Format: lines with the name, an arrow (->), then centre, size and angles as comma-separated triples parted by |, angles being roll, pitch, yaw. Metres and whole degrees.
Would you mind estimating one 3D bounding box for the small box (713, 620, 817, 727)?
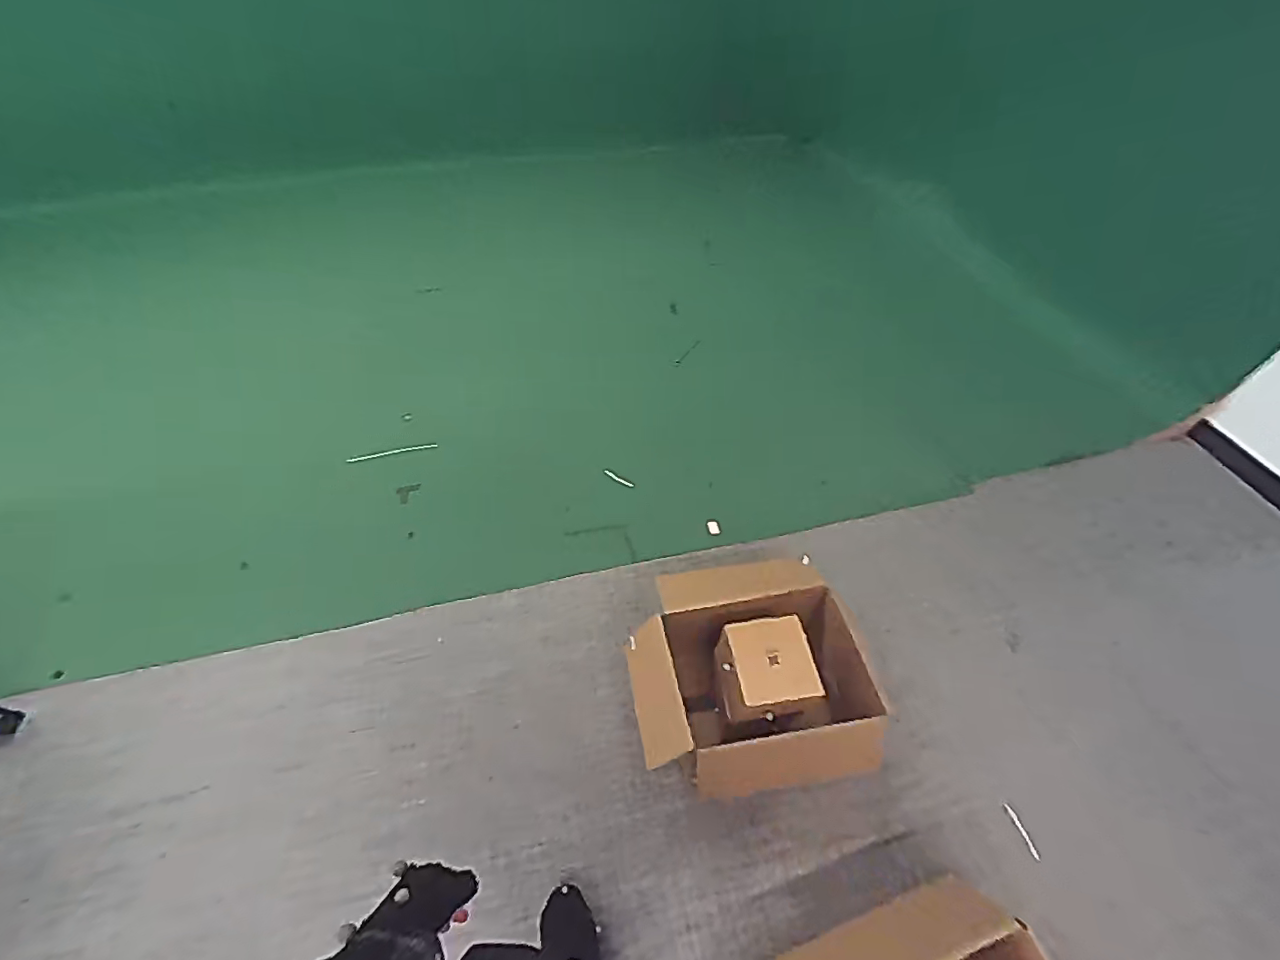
small box -> 0.268, 0.434, 1.200 | 0.168, 0.176, 0.179 | -6, 52, -6
